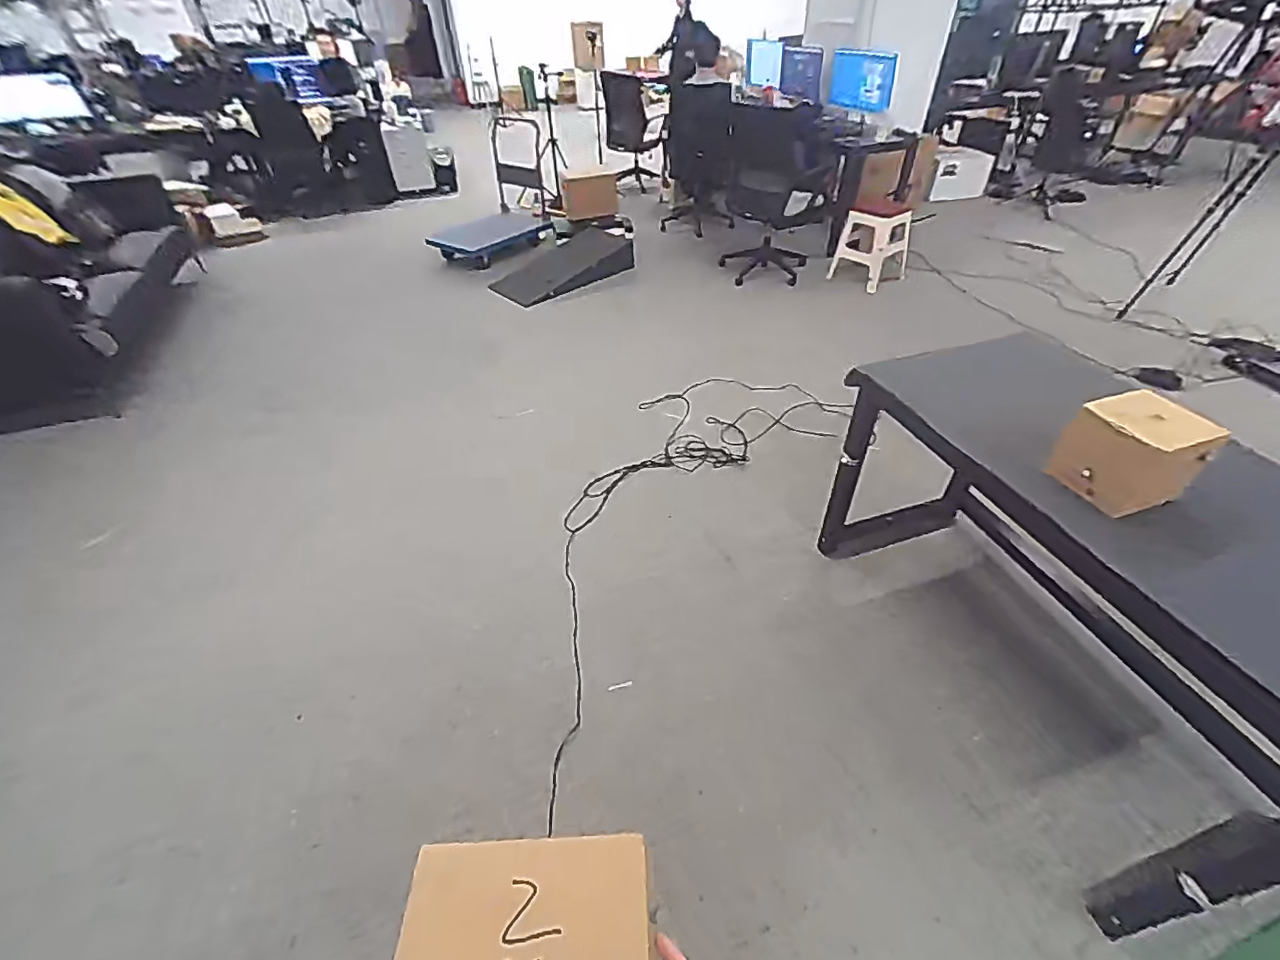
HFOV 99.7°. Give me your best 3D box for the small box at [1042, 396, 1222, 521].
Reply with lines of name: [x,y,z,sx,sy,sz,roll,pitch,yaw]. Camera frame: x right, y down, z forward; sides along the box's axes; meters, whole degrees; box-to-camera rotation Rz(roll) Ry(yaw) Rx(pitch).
small box: [0.968,-0.043,1.084,0.179,0.176,0.168,-13,42,-14]
